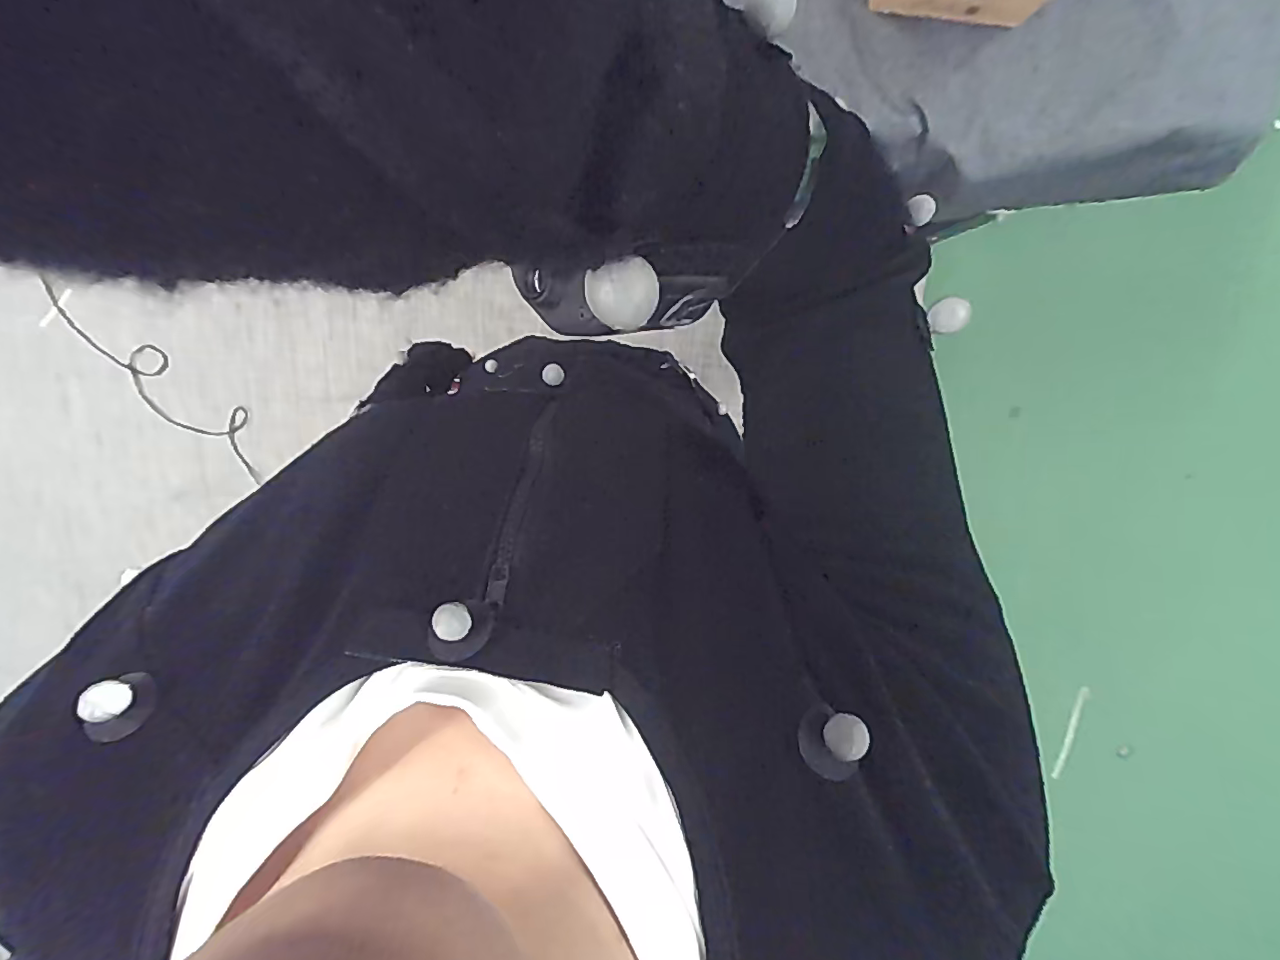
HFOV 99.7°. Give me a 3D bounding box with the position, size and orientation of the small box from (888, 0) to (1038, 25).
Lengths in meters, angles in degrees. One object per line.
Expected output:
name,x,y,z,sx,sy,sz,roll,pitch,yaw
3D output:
small box,0.339,-0.568,0.496,0.168,0.176,0.179,7,104,0
